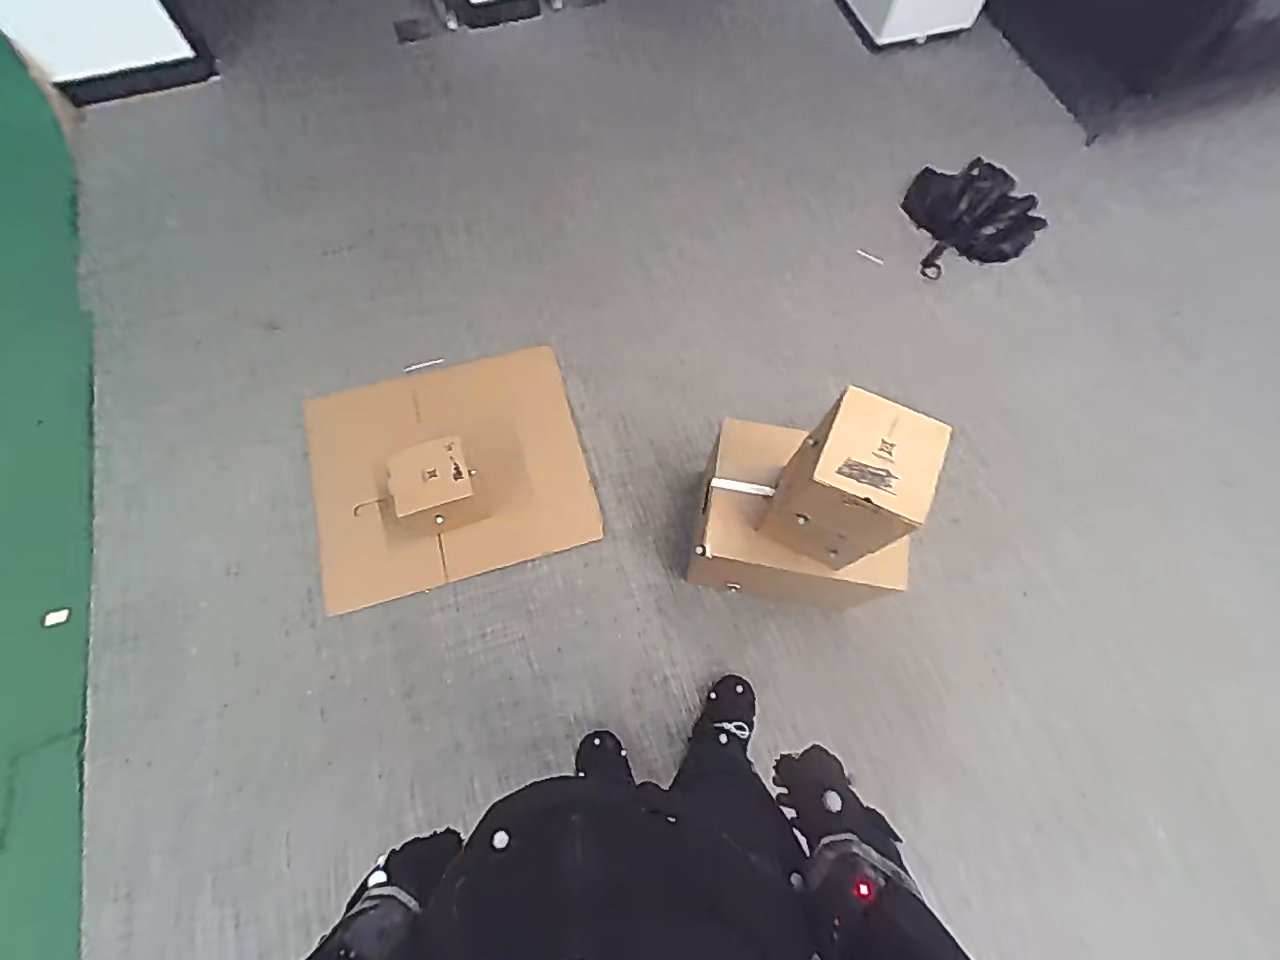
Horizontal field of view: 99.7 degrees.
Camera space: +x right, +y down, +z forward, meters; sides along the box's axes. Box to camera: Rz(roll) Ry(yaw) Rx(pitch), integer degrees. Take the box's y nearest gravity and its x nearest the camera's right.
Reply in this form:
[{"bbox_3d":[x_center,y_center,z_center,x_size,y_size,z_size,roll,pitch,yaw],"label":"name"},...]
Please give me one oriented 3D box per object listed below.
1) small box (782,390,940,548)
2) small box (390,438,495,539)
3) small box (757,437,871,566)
[{"bbox_3d":[0.342,-0.008,0.868,0.168,0.176,0.179,21,70,7],"label":"small box"},{"bbox_3d":[-0.481,0.027,1.332,0.179,0.176,0.168,-21,69,-7],"label":"small box"},{"bbox_3d":[0.343,0.048,1.022,0.179,0.176,0.168,24,69,9],"label":"small box"}]
